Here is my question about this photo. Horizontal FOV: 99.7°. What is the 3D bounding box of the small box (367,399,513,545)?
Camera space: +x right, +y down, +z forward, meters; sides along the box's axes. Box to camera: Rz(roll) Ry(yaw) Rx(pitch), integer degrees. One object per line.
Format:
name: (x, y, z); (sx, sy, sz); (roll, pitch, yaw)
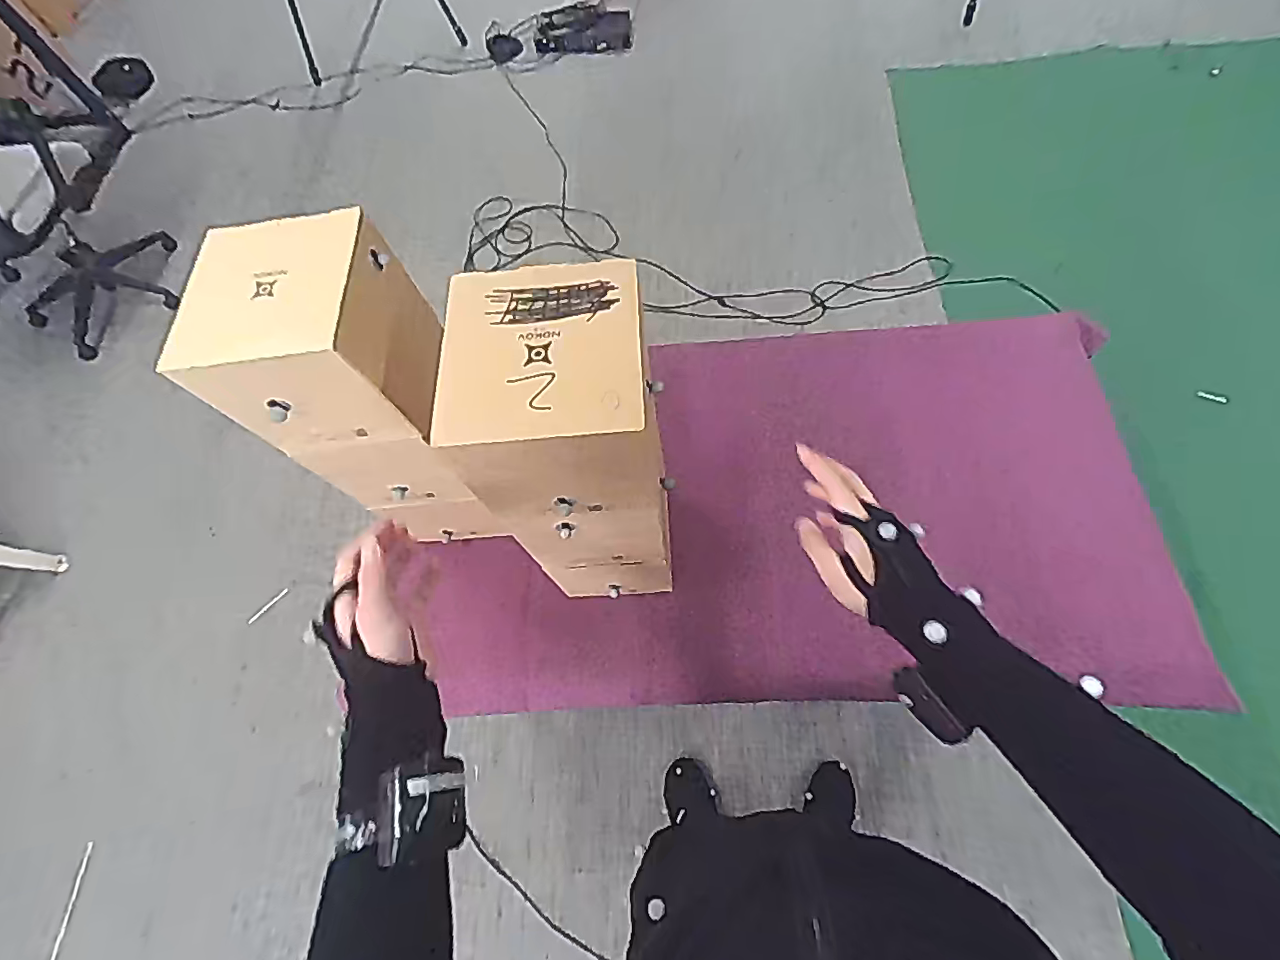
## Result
small box: (-0.304, -0.007, 0.872); (0.168, 0.176, 0.179); (-5, 66, 4)

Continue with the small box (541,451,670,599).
small box: (-0.043, 0.070, 0.807); (0.168, 0.176, 0.179); (-4, 65, 5)

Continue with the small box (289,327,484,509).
small box: (-0.320, -0.076, 0.725); (0.168, 0.176, 0.179); (-5, 66, 5)

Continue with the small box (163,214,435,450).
small box: (-0.337, -0.143, 0.577); (0.168, 0.176, 0.179); (-6, 64, 5)

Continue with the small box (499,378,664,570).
small box: (-0.059, 0.000, 0.660); (0.168, 0.176, 0.179); (-4, 65, 5)
